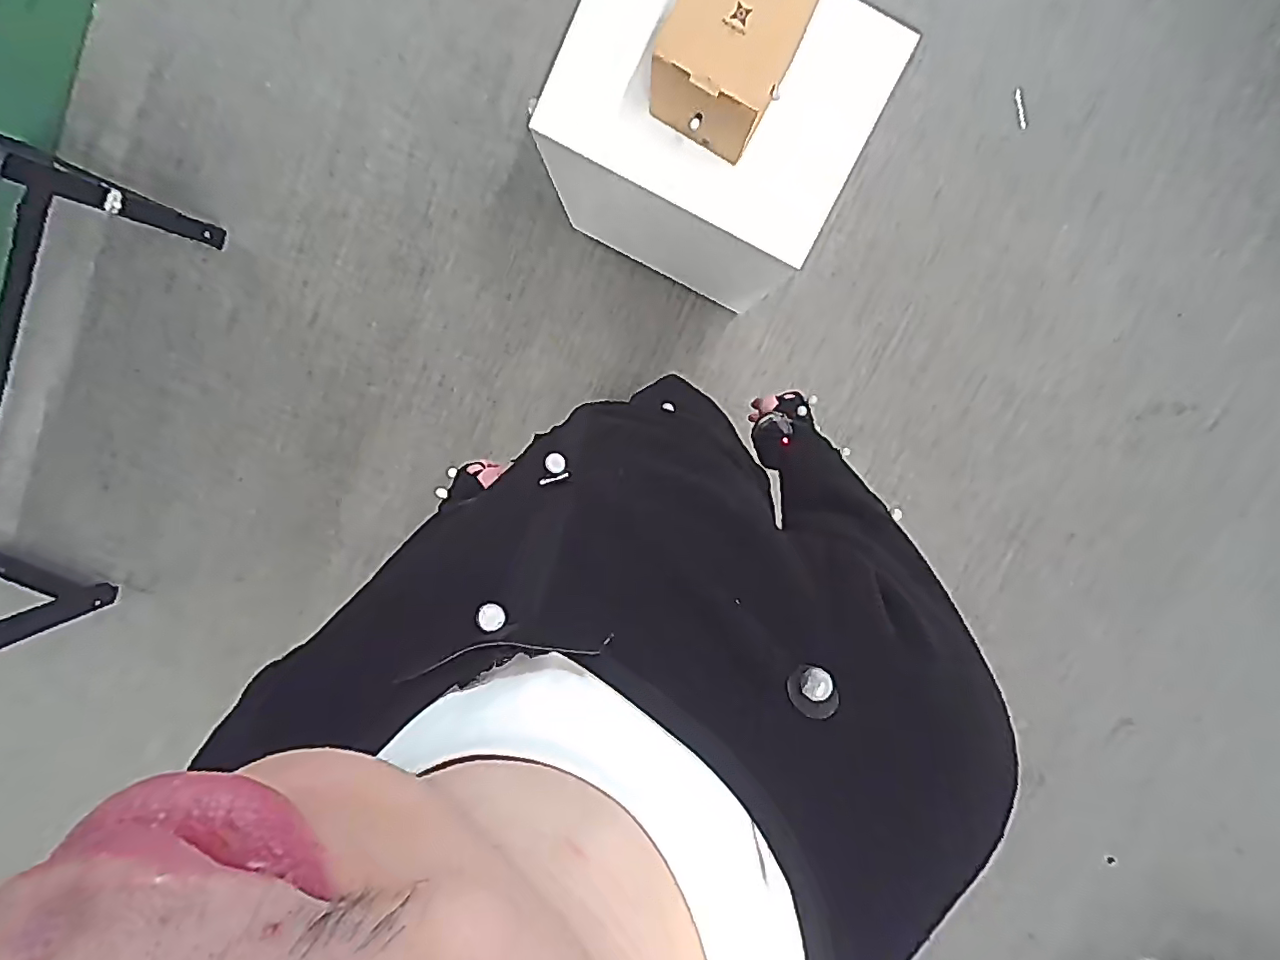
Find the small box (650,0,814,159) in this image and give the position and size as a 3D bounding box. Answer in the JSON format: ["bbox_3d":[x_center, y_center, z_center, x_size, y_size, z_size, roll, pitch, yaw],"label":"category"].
[{"bbox_3d":[0.126,-0.618,0.796,0.168,0.176,0.179,26,98,-4],"label":"small box"}]
